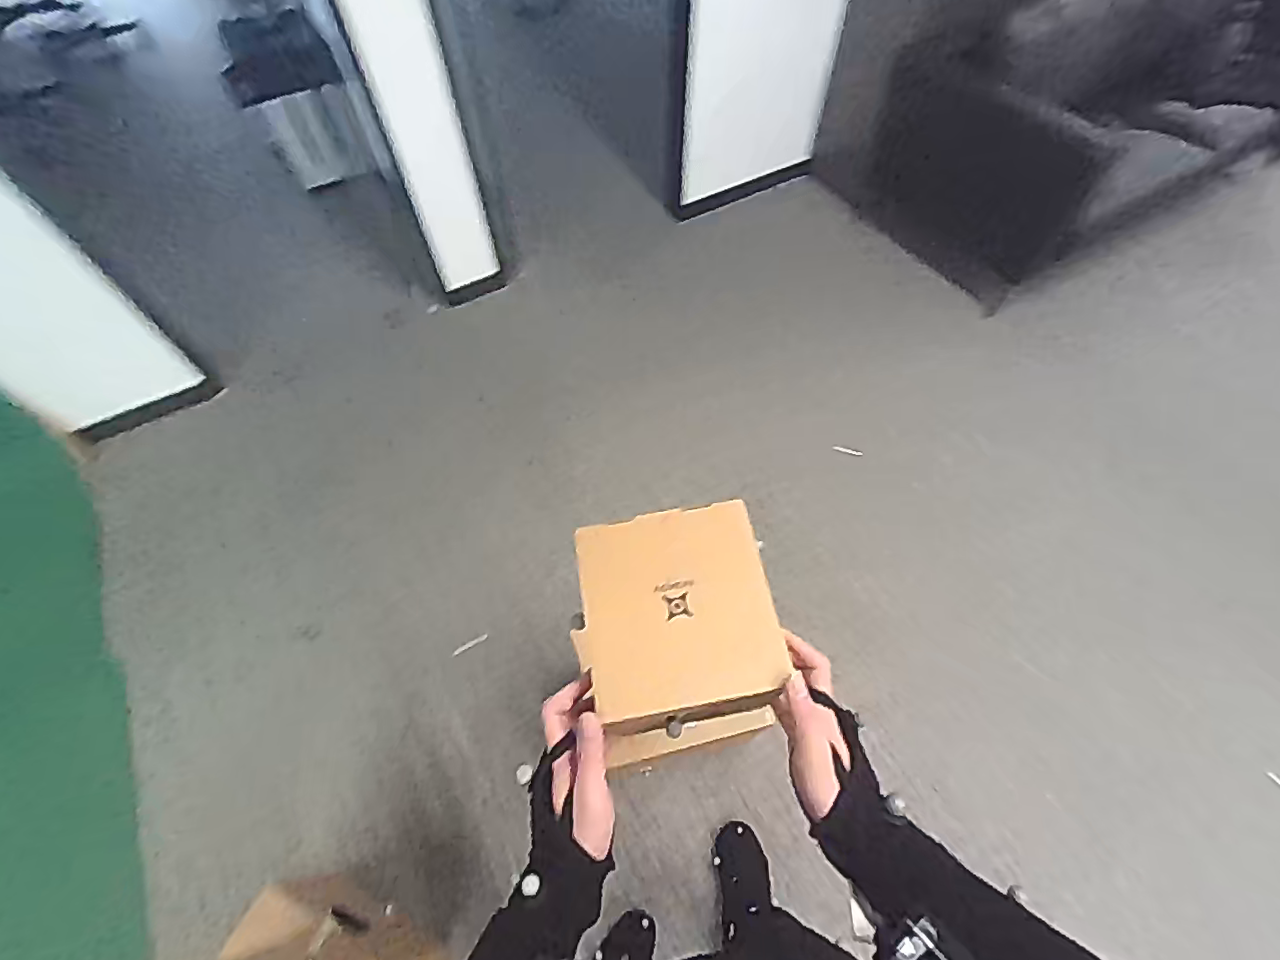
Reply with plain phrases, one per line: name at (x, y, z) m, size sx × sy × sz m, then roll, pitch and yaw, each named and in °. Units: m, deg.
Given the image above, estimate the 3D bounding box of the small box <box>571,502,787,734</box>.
small box at (0.033, 0.147, 0.541) m, size 0.168 × 0.176 × 0.179 m, roll -10°, pitch 60°, yaw -2°

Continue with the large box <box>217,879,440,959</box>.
large box at (-0.659, 1.064, 1.022) m, size 0.320 × 0.320 × 0.408 m, roll 21°, pitch 60°, yaw 15°

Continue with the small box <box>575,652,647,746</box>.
small box at (-0.027, 0.438, 1.130) m, size 0.168 × 0.176 × 0.179 m, roll -18°, pitch 60°, yaw -12°

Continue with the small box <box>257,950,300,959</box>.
small box at (-0.601, 0.886, 0.843) m, size 0.168 × 0.176 × 0.179 m, roll 21°, pitch 60°, yaw 14°
